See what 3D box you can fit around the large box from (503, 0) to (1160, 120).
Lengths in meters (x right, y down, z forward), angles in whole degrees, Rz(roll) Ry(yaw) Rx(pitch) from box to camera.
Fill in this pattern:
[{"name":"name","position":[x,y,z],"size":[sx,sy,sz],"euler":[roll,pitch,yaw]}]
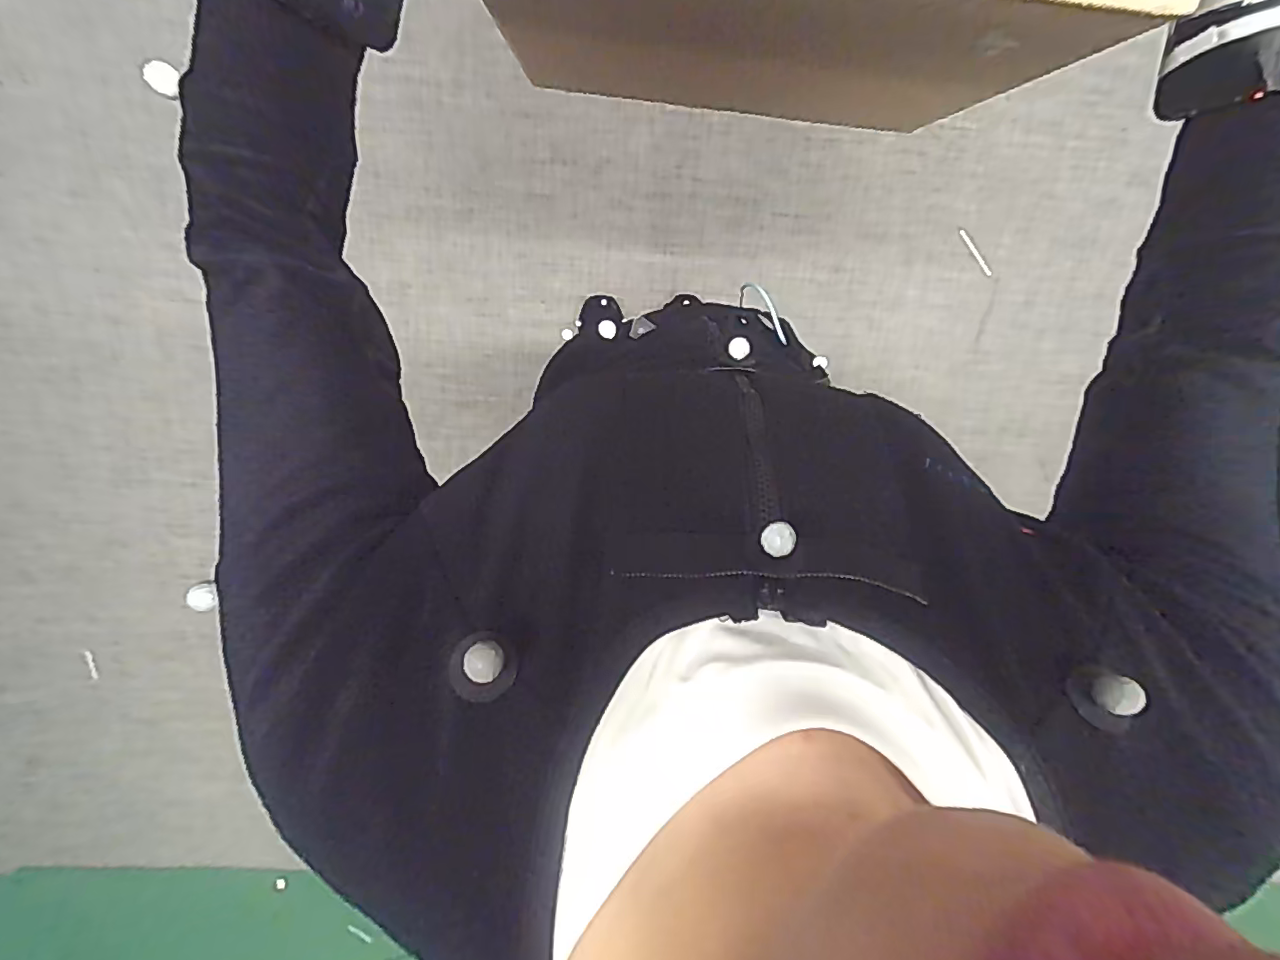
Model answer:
[{"name":"large box","position":[0.108,-0.473,0.369],"size":[0.408,0.320,0.320],"euler":[3,113,-4]}]
